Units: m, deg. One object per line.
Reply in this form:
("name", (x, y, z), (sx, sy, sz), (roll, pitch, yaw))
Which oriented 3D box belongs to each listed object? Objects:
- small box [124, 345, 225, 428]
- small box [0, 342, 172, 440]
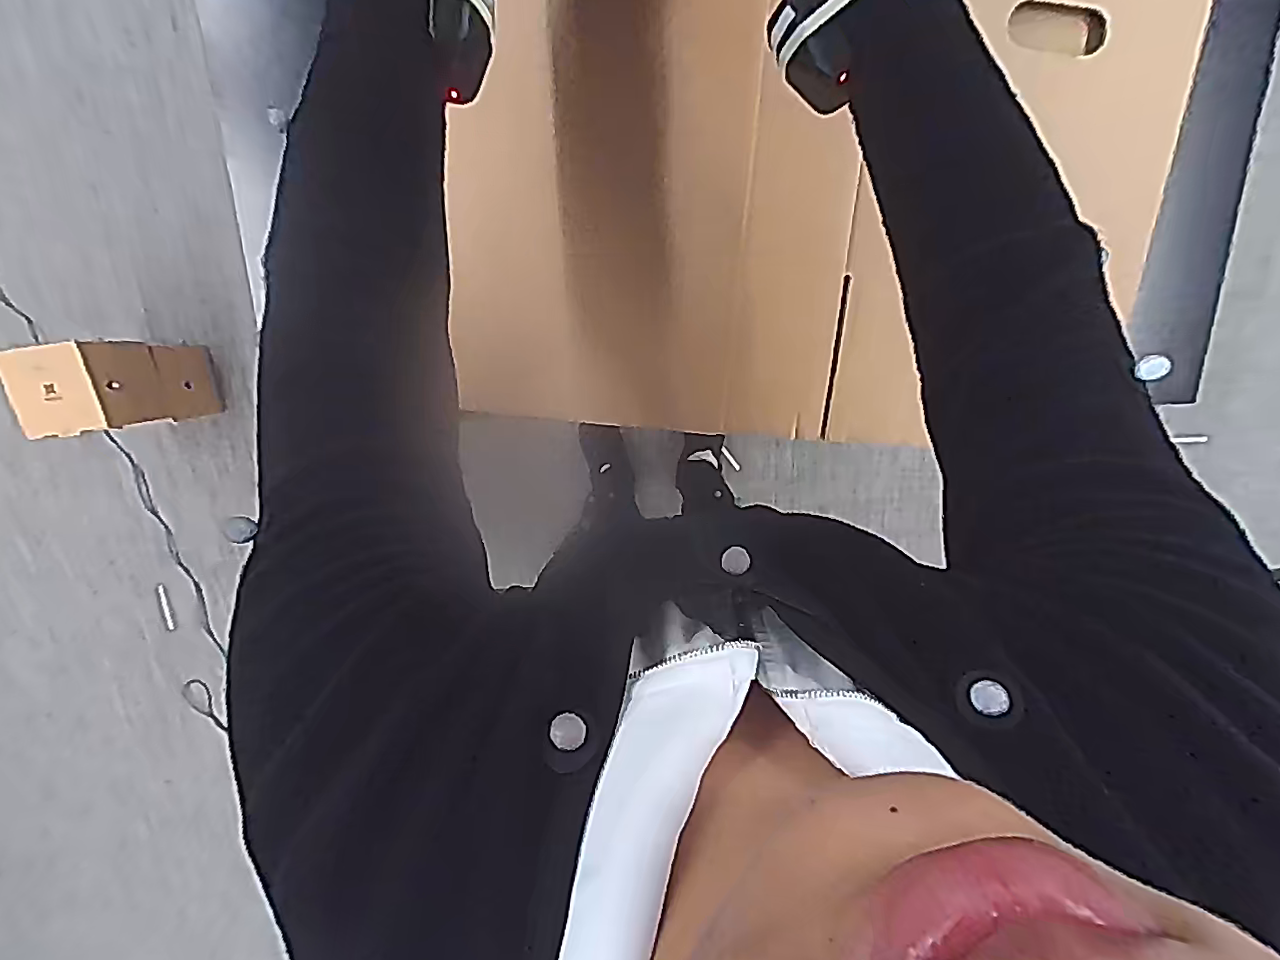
("small box", (-1.155, -0.227, 1.300), (0.168, 0.176, 0.179), (-6, 105, -1))
("small box", (-1.150, -0.193, 1.140), (0.168, 0.176, 0.179), (-8, 104, -1))
